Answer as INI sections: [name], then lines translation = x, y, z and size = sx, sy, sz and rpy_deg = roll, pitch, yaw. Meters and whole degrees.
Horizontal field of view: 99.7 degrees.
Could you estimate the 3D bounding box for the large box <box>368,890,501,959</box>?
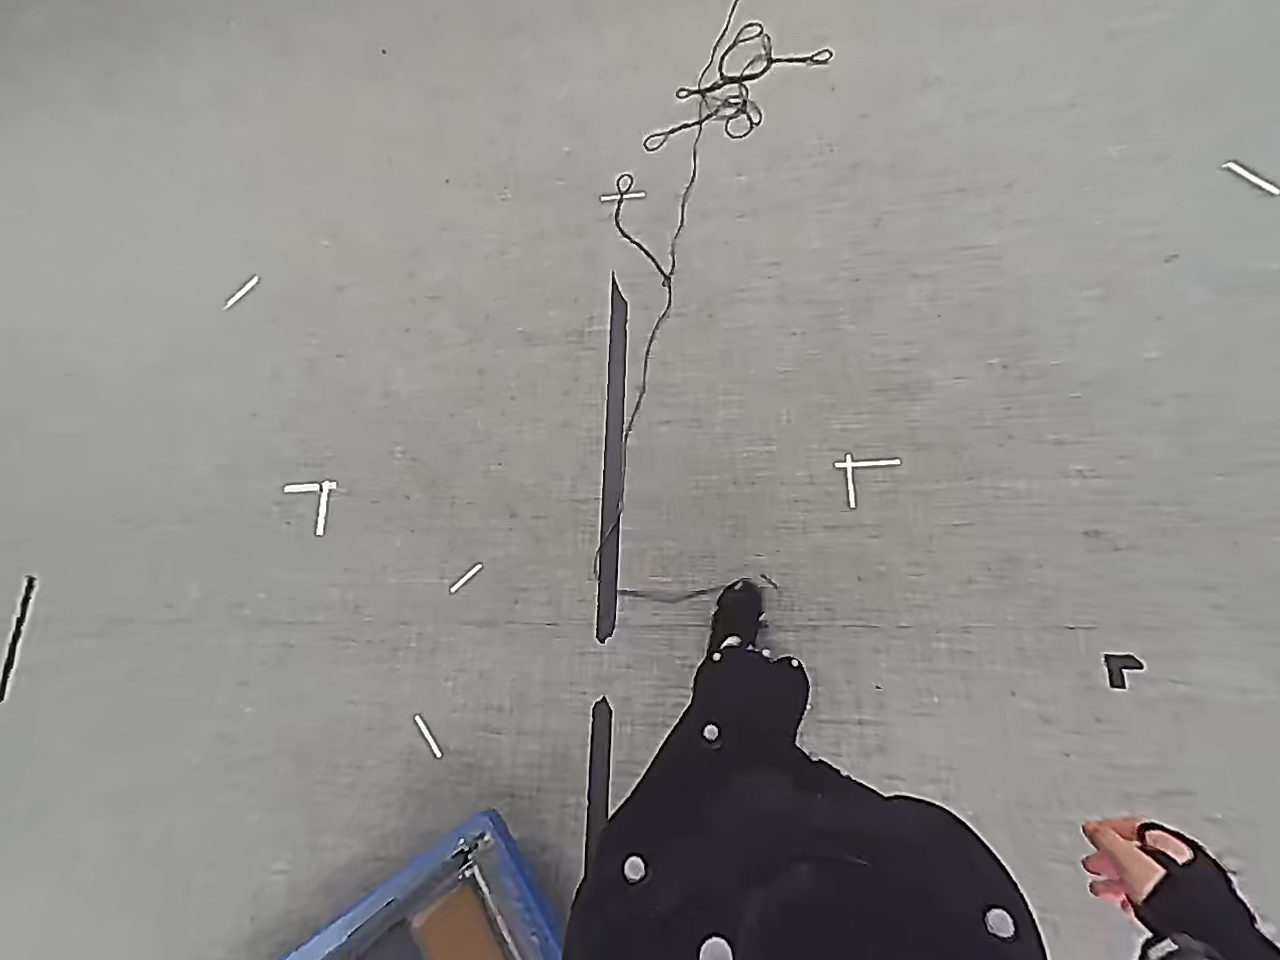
[large box]
translation = -0.382, 1.021, 0.886
size = 0.320, 0.320, 0.408
rpy_deg = -36, 71, -1
